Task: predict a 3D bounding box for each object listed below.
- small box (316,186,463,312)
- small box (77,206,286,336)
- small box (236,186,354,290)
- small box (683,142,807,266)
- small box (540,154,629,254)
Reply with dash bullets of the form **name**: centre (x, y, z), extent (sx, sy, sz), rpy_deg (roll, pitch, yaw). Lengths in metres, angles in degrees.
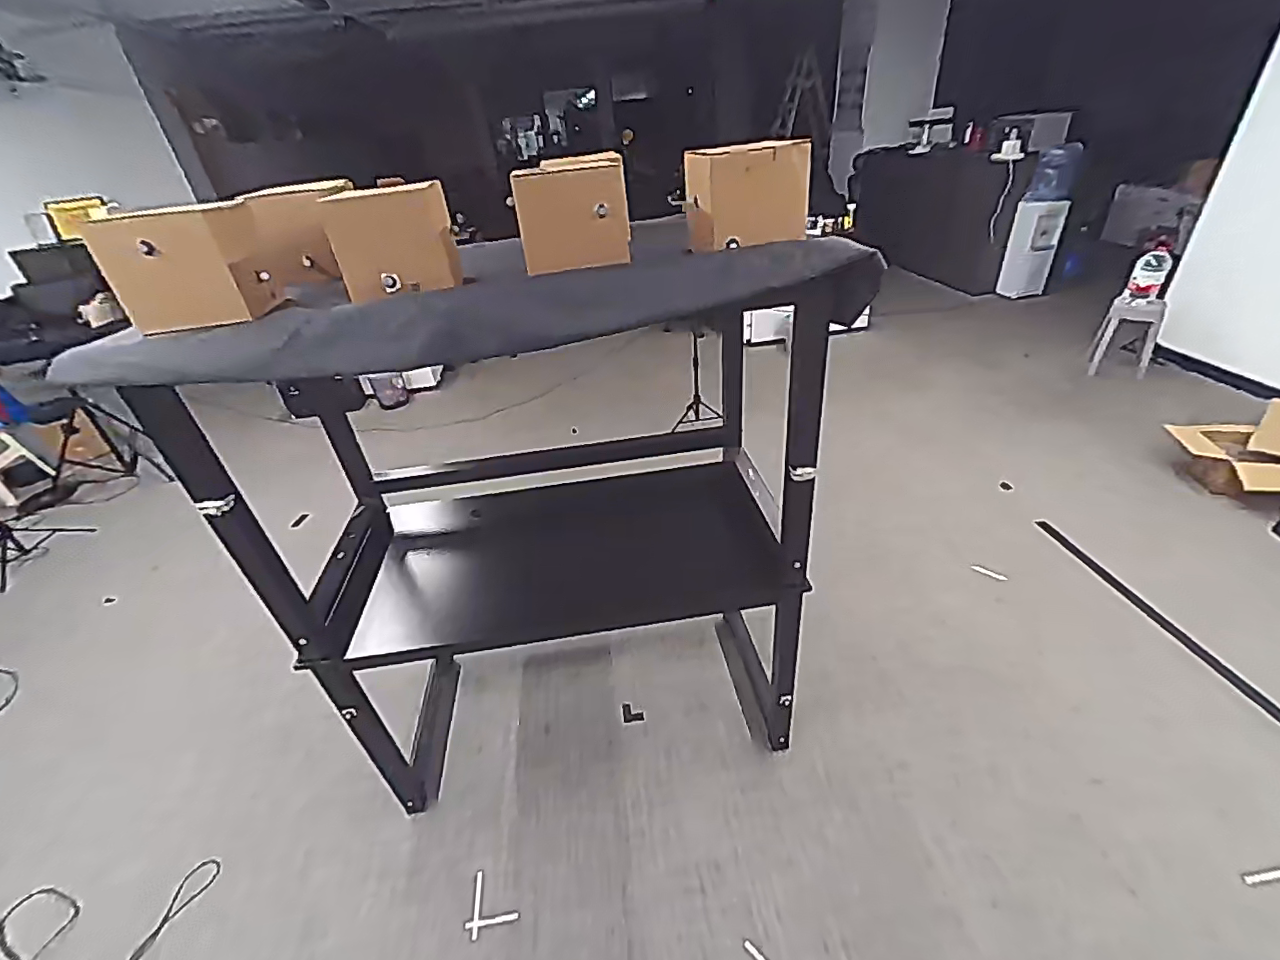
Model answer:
- **small box**: centre (-0.409, -0.395, 0.920), extent (0.168, 0.176, 0.179), rpy_deg (-12, 33, -6)
- **small box**: centre (-0.737, -0.346, 0.897), extent (0.179, 0.176, 0.168), rpy_deg (-10, 33, -7)
- **small box**: centre (-0.690, -0.512, 1.143), extent (0.179, 0.176, 0.168), rpy_deg (-9, 34, -6)
- **small box**: centre (0.180, -0.484, 0.952), extent (0.168, 0.176, 0.179), rpy_deg (-10, 32, -5)
- **small box**: centre (-0.122, -0.604, 1.188), extent (0.168, 0.176, 0.179), rpy_deg (-9, 34, -4)
